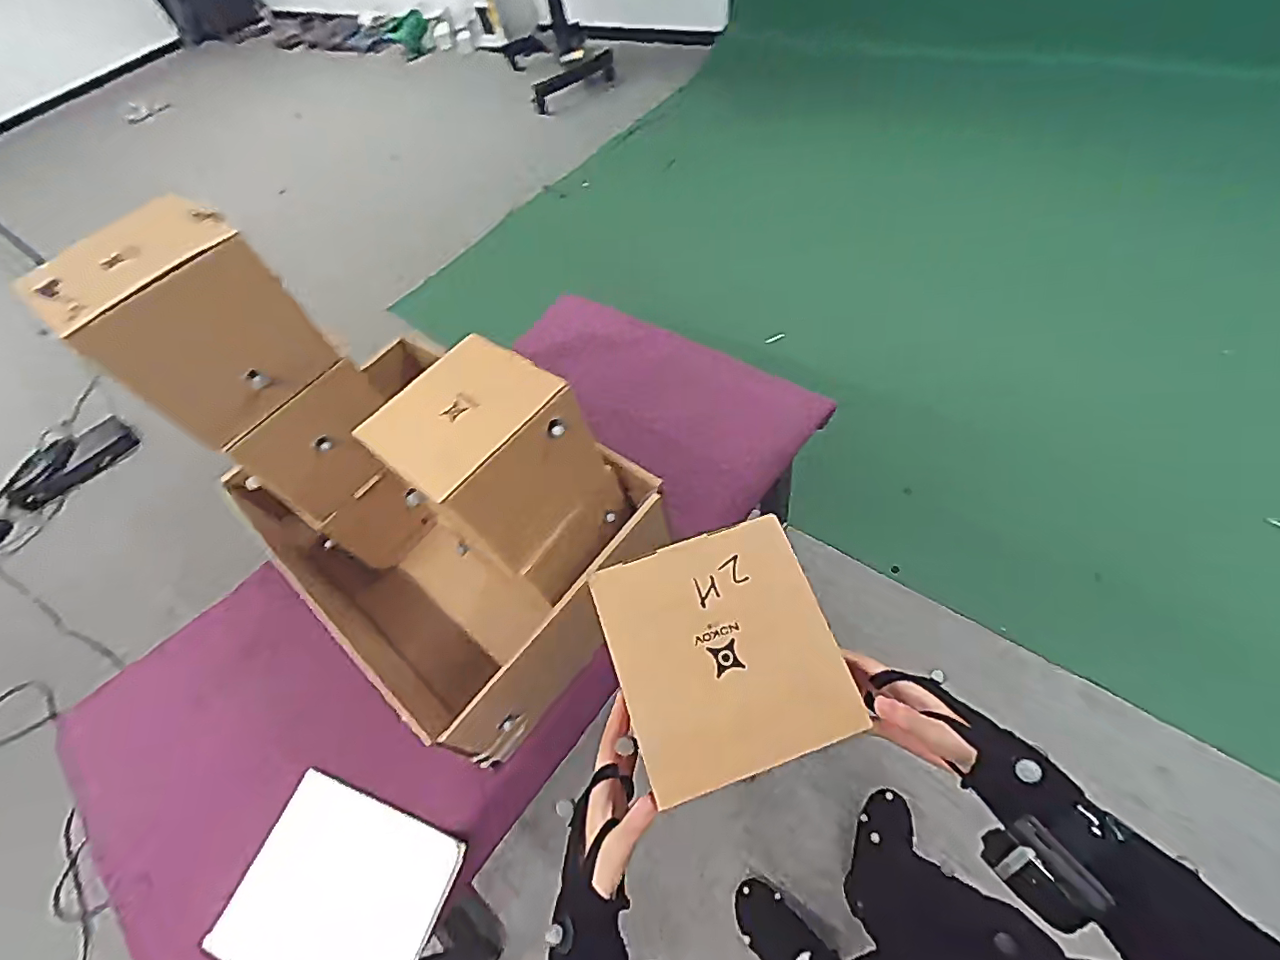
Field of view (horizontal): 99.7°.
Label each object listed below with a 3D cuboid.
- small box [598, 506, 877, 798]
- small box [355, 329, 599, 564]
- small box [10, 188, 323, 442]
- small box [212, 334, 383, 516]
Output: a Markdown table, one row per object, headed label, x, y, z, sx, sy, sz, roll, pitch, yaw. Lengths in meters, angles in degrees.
| label | x | y | z | sx | sy | sz | roll | pitch | yaw |
| --- | --- | --- | --- | --- | --- | --- | --- | --- | --- |
| small box | 0.069 | 0.149 | 0.478 | 0.168 | 0.176 | 0.179 | -16 | 67 | -7 |
| small box | -0.171 | -0.034 | 0.620 | 0.168 | 0.176 | 0.179 | 31 | 67 | 29 |
| small box | -0.485 | -0.176 | 0.586 | 0.168 | 0.176 | 0.179 | 31 | 66 | 27 |
| small box | -0.455 | -0.086 | 0.720 | 0.168 | 0.176 | 0.179 | 29 | 66 | 26 |
